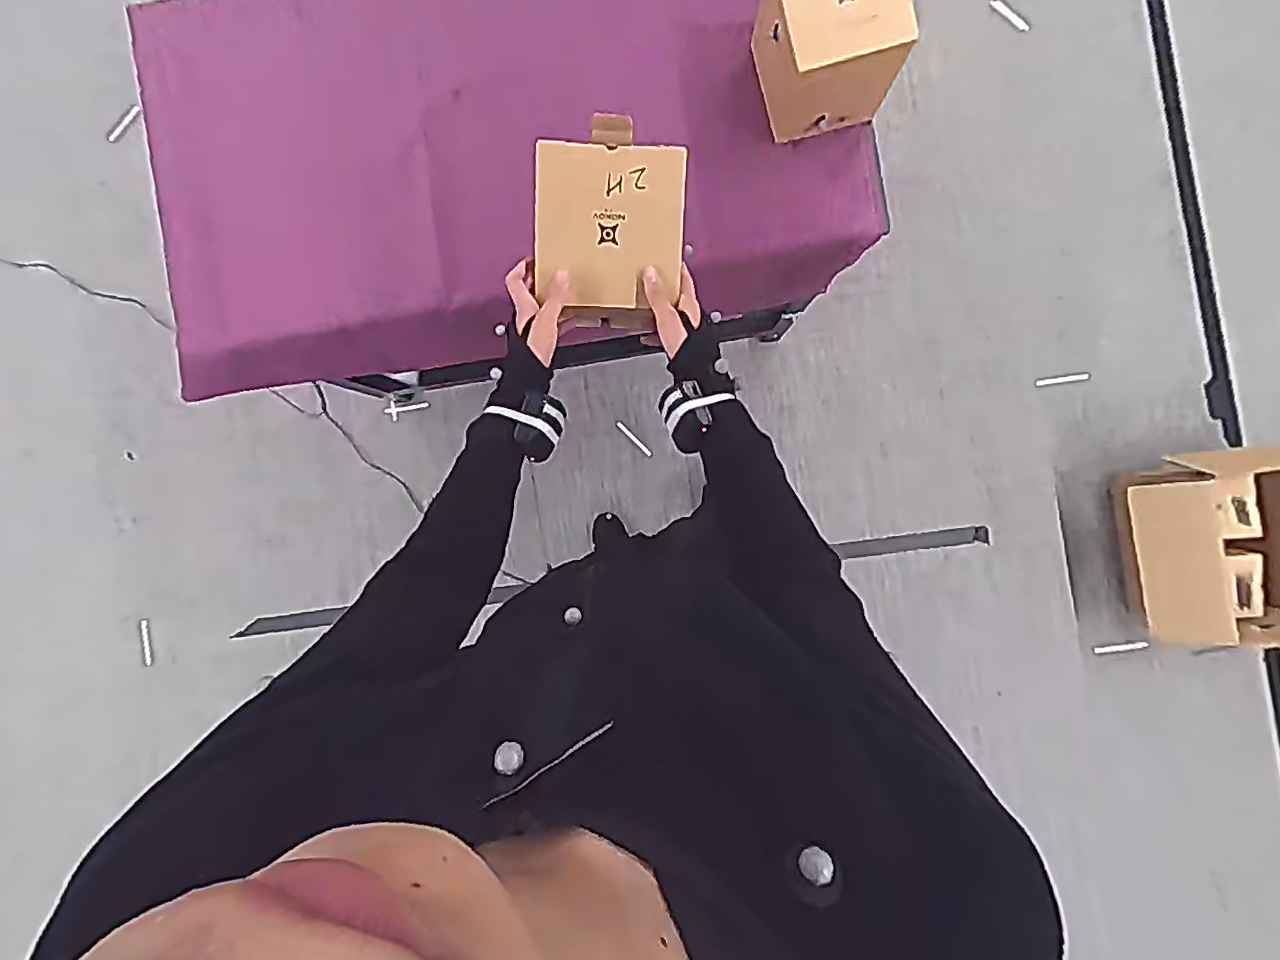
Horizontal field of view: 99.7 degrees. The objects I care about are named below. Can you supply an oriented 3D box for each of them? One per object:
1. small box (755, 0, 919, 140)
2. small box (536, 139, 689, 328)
[{"bbox_3d":[0.276,-0.654,0.800,0.168,0.176,0.179,-13,89,4],"label":"small box"},{"bbox_3d":[-0.033,-0.290,0.673,0.168,0.176,0.179,2,98,-2],"label":"small box"}]
